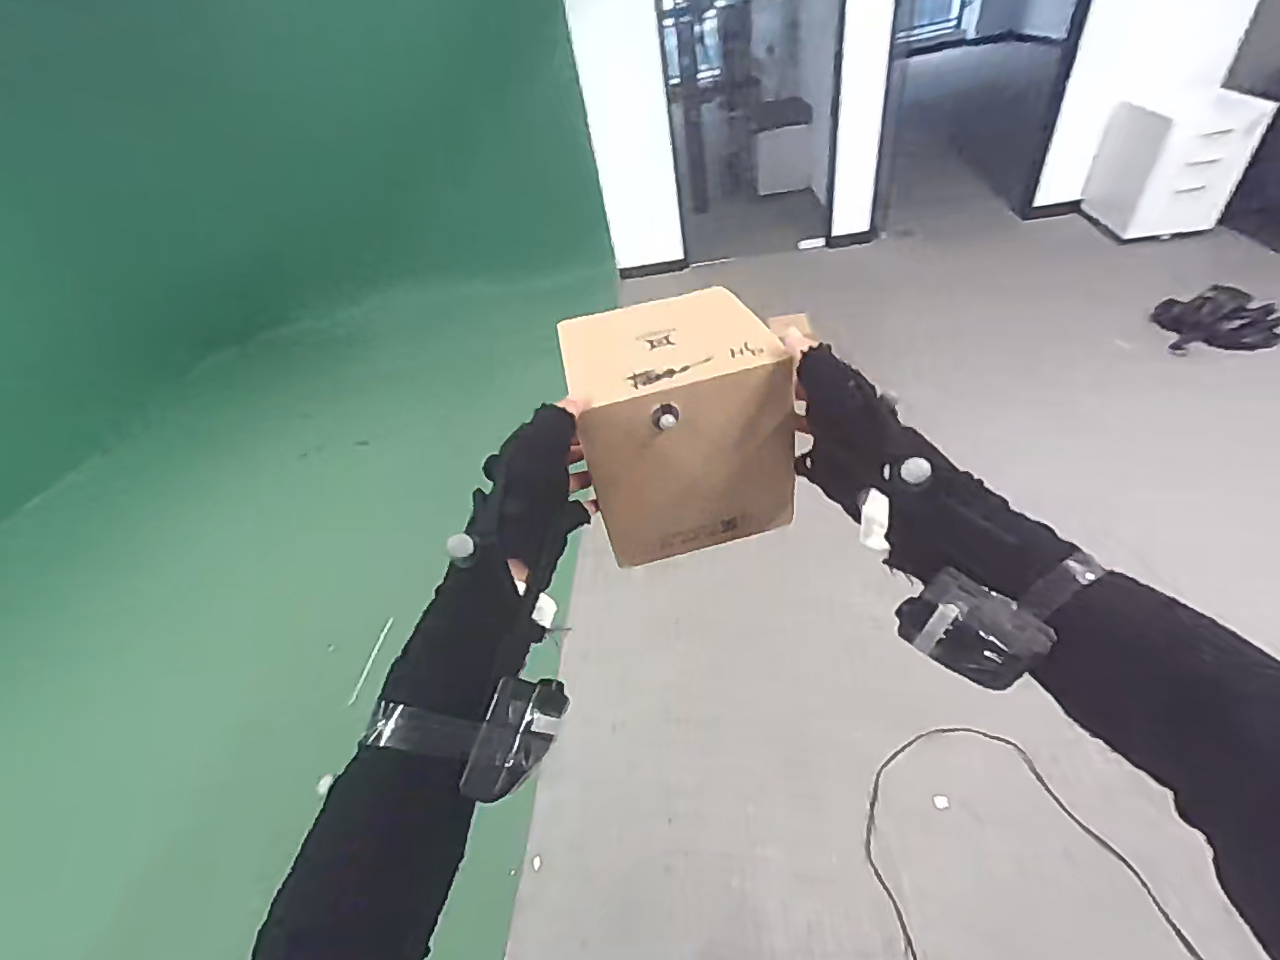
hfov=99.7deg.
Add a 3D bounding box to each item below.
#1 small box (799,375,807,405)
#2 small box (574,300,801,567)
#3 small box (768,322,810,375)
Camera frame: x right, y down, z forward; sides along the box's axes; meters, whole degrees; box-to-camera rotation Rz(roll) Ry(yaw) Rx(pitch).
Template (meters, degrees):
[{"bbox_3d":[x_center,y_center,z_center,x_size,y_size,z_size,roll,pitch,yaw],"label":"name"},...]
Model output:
[{"bbox_3d":[0.665,-0.443,2.477,0.179,0.176,0.168,-5,41,12],"label":"small box"},{"bbox_3d":[0.040,-0.048,0.511,0.168,0.176,0.179,-14,36,-2],"label":"small box"},{"bbox_3d":[0.652,-0.568,2.375,0.168,0.176,0.179,-6,42,11],"label":"small box"}]
